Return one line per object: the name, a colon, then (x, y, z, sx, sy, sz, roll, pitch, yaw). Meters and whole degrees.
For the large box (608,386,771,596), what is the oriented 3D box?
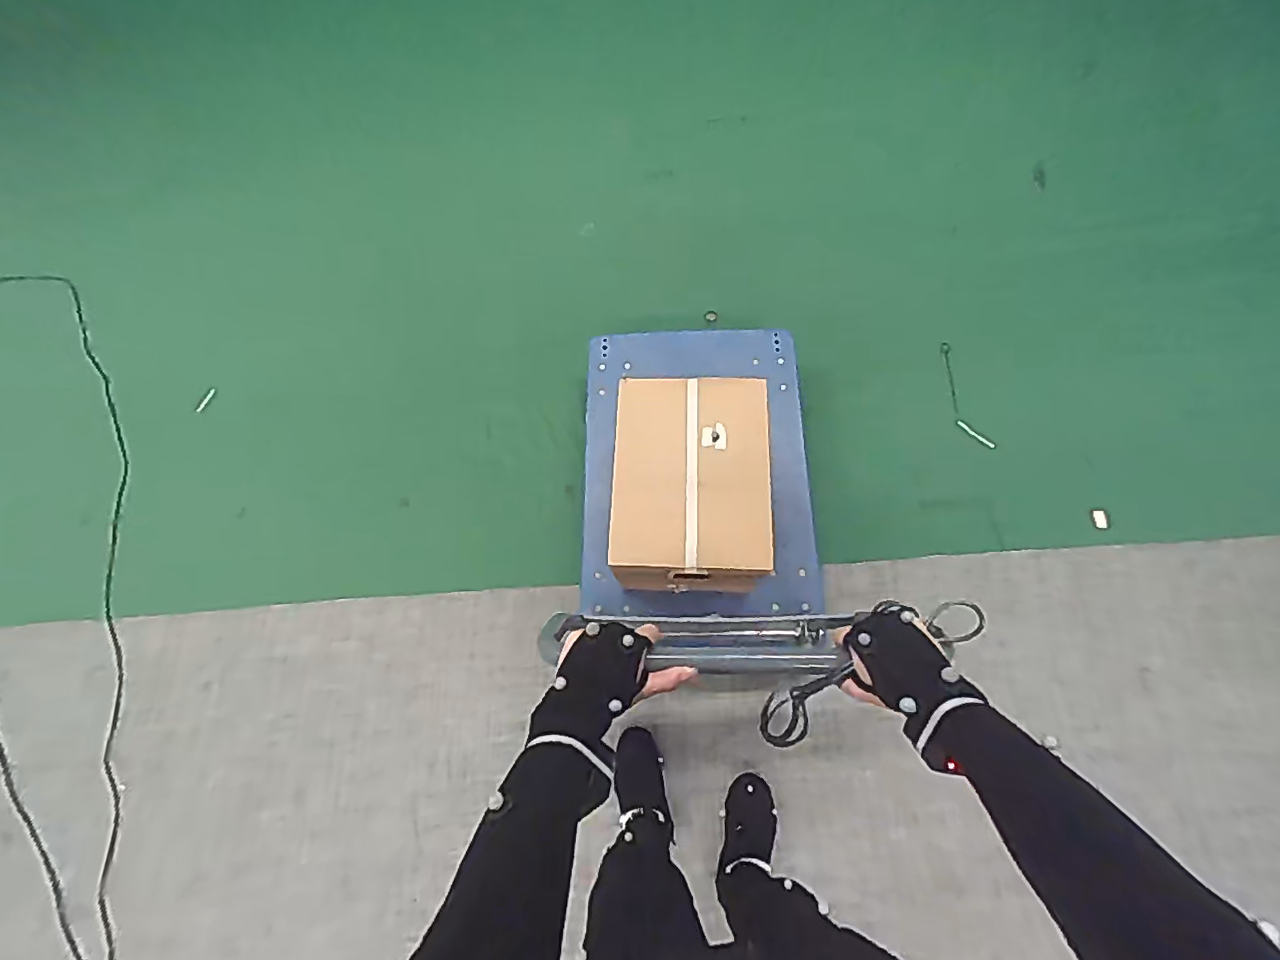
large box: (0.107, 0.041, 1.221, 0.320, 0.320, 0.408, 1, 70, 3)
